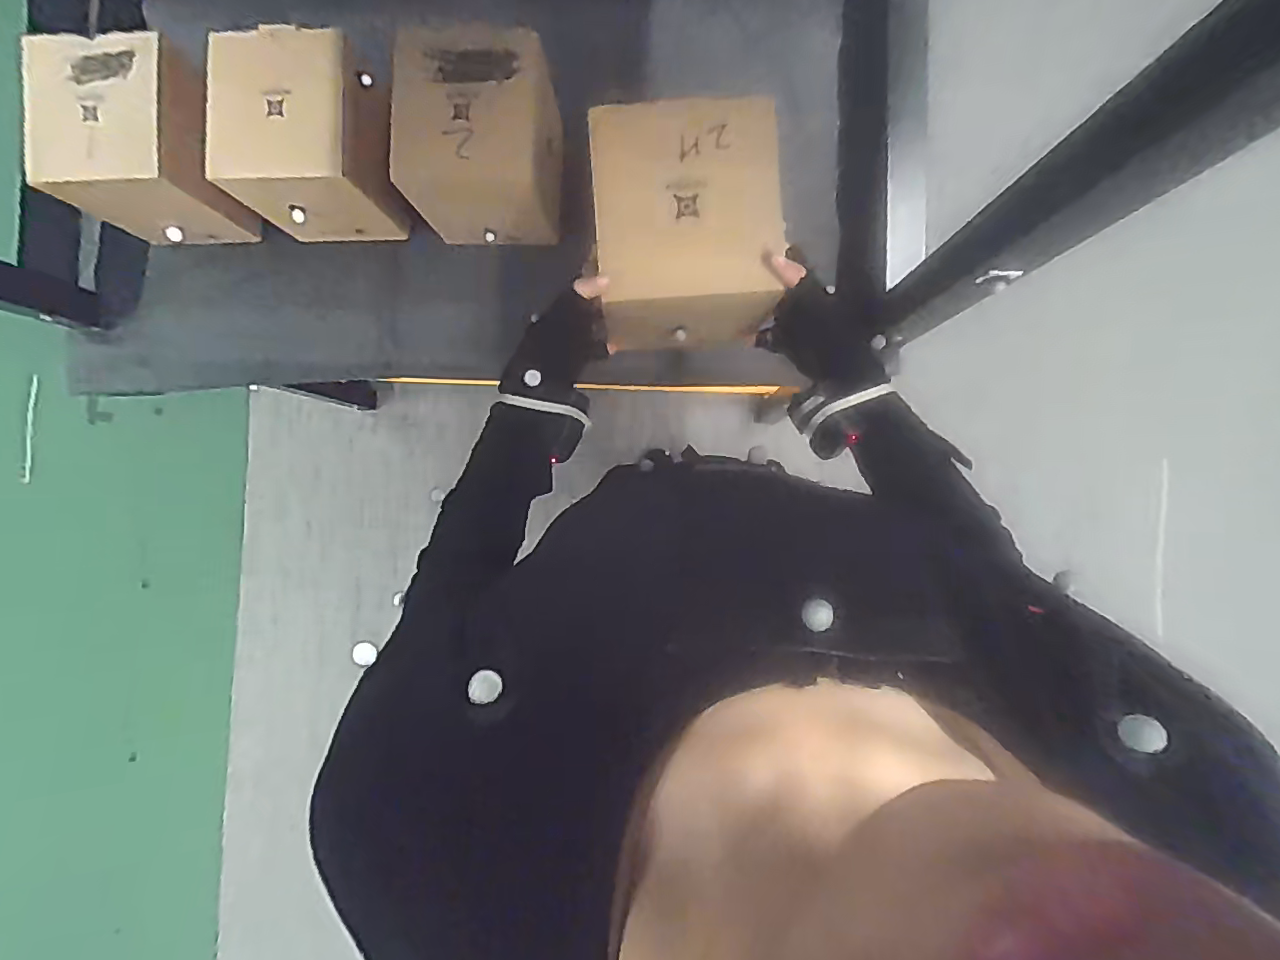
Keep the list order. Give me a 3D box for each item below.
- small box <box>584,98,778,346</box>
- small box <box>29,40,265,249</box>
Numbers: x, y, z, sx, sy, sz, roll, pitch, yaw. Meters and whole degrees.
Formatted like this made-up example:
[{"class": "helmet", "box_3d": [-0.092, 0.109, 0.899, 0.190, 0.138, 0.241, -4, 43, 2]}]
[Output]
[{"class": "small box", "box_3d": [0.036, -0.242, 0.551, 0.168, 0.176, 0.179, -3, 87, 0]}, {"class": "small box", "box_3d": [-0.634, -0.430, 0.717, 0.168, 0.176, 0.179, 0, 89, 3]}]
